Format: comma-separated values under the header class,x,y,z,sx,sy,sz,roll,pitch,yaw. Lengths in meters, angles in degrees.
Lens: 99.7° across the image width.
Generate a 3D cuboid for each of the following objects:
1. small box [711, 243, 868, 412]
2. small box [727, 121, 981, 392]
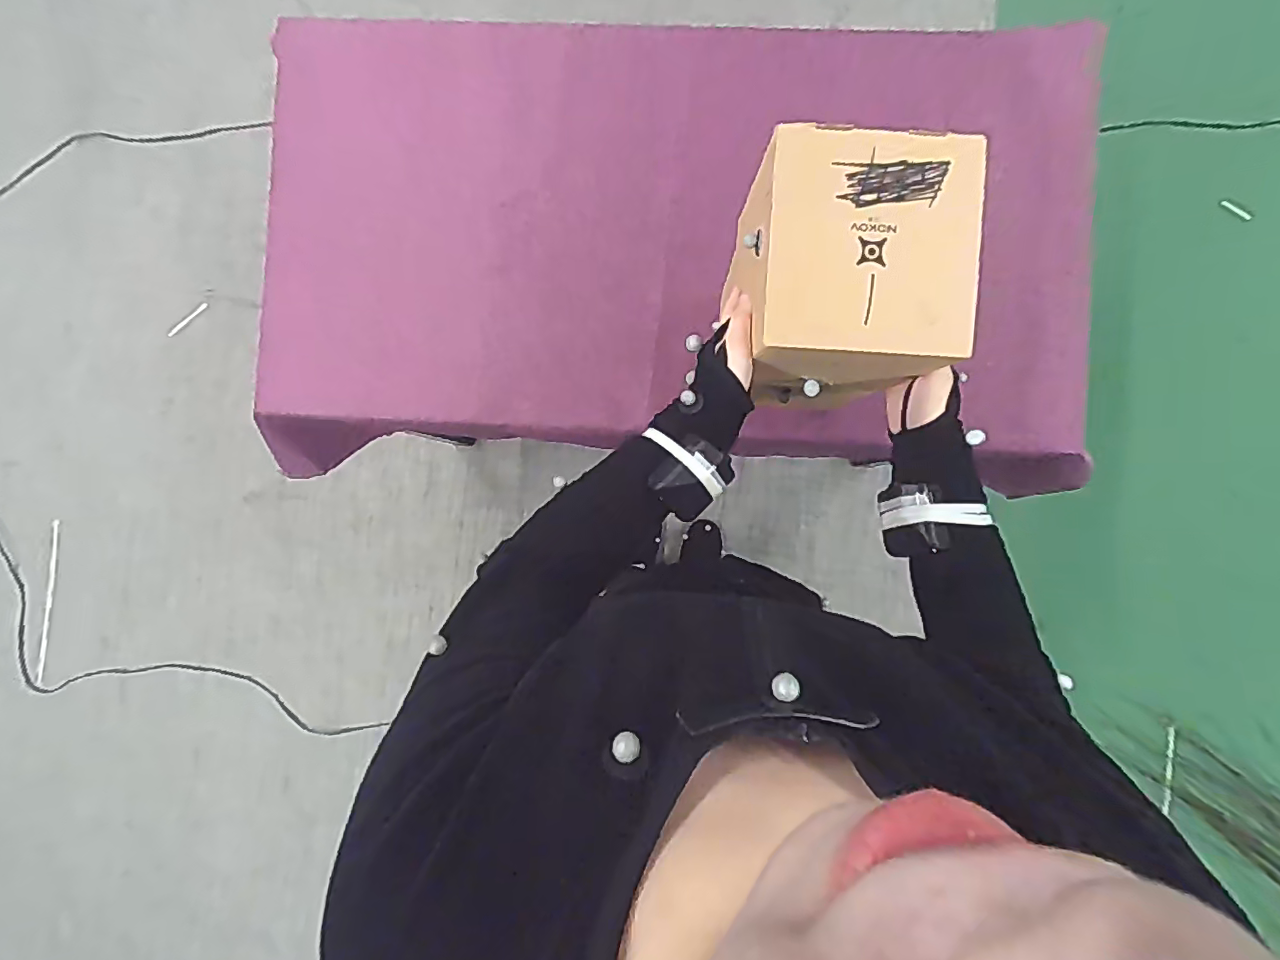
class,x,y,z,sx,sy,sz,roll,pitch,yaw
small box,0.189,-0.186,0.698,0.179,0.176,0.168,5,89,3
small box,0.176,-0.186,0.497,0.168,0.176,0.179,4,91,1
